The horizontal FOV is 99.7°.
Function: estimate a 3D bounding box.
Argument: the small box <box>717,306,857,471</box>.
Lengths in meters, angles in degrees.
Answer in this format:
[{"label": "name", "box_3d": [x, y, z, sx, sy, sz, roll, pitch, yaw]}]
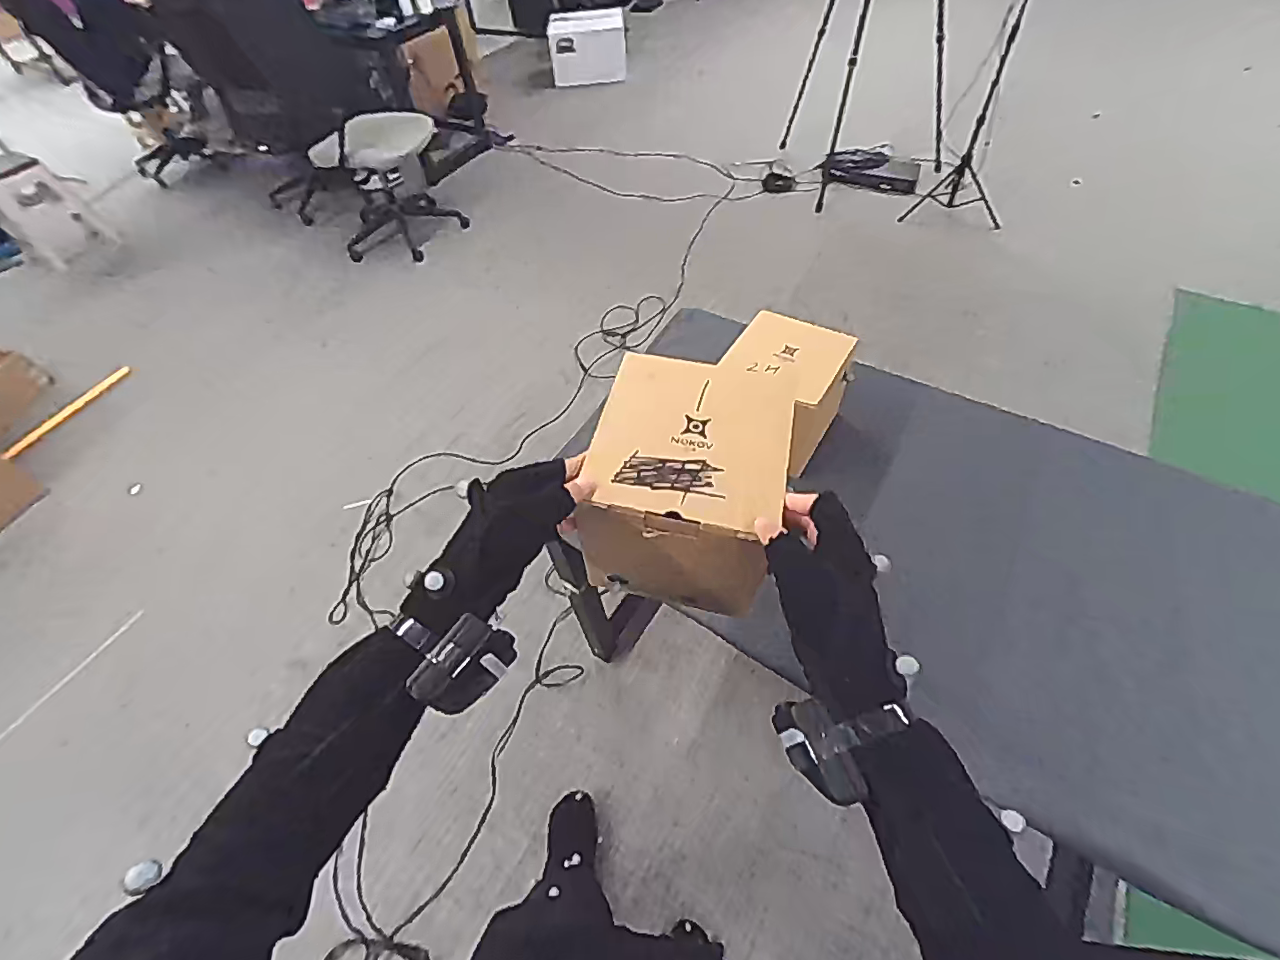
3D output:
[{"label": "small box", "box_3d": [0.230, -0.149, 0.891, 0.168, 0.176, 0.179, 26, 60, 22]}]

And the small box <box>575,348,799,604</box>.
[{"label": "small box", "box_3d": [0.048, 0.002, 0.533, 0.168, 0.176, 0.179, 12, 56, 8]}]
